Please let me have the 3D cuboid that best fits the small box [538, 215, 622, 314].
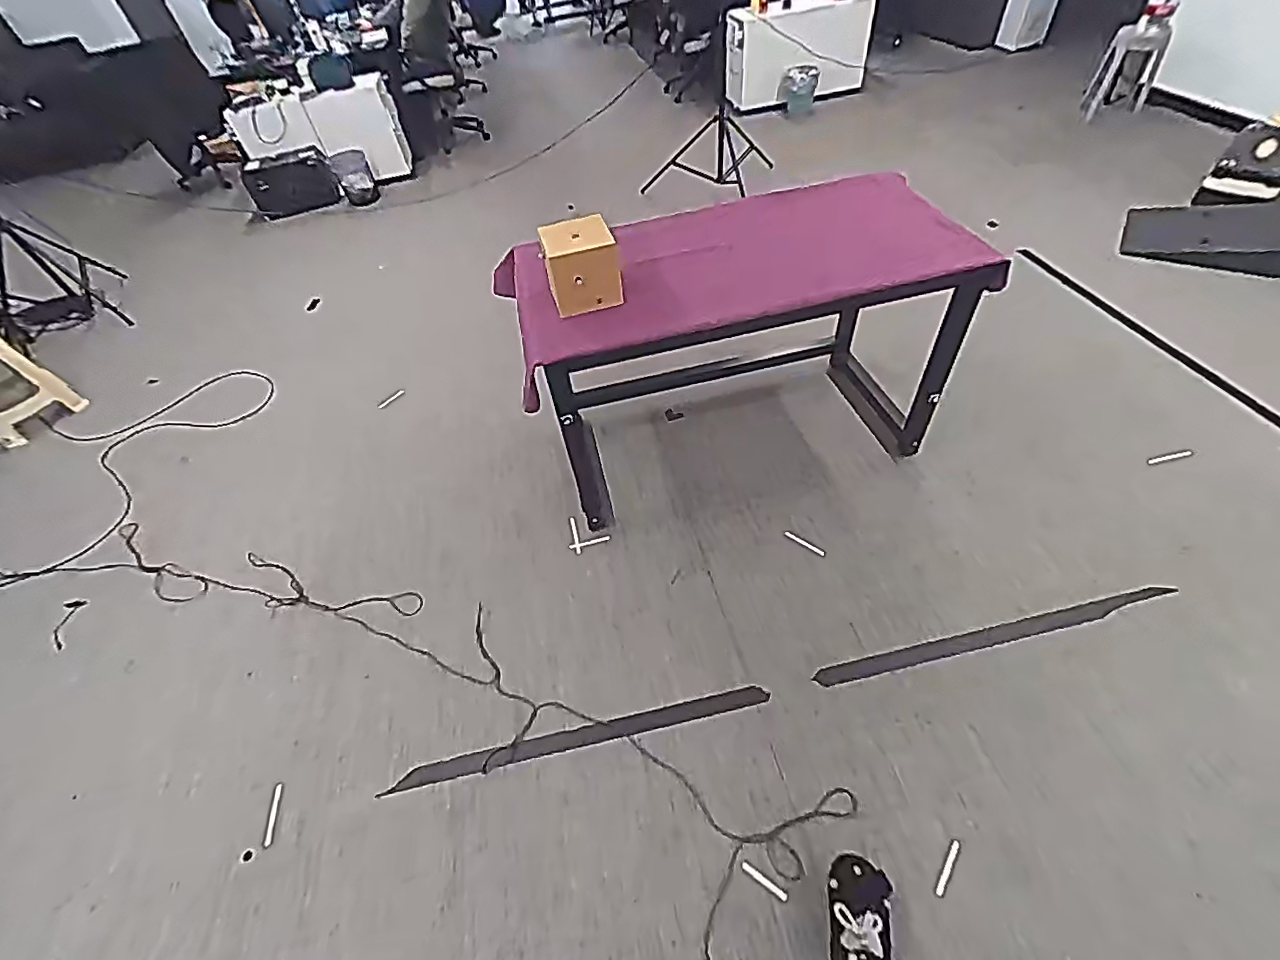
[{"bbox_3d":[-0.151,-0.542,1.381,0.168,0.176,0.179,-16,49,-6],"label":"small box"}]
